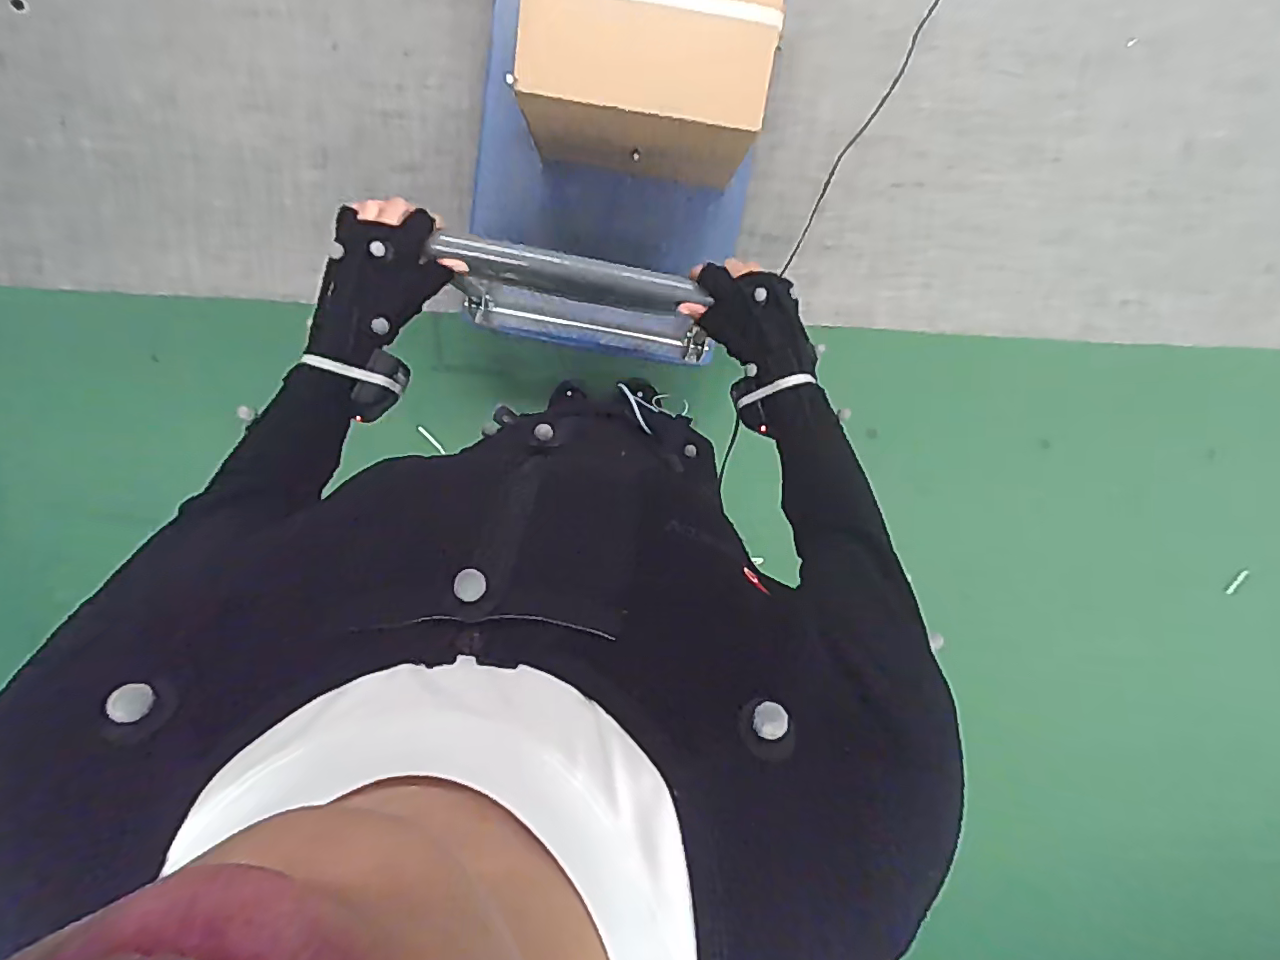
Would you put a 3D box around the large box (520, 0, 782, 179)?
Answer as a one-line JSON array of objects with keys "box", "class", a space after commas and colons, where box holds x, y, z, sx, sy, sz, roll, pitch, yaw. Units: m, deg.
[{"box": [0.021, -0.781, 0.981, 0.408, 0.320, 0.320, 7, 102, -3], "class": "large box"}]
